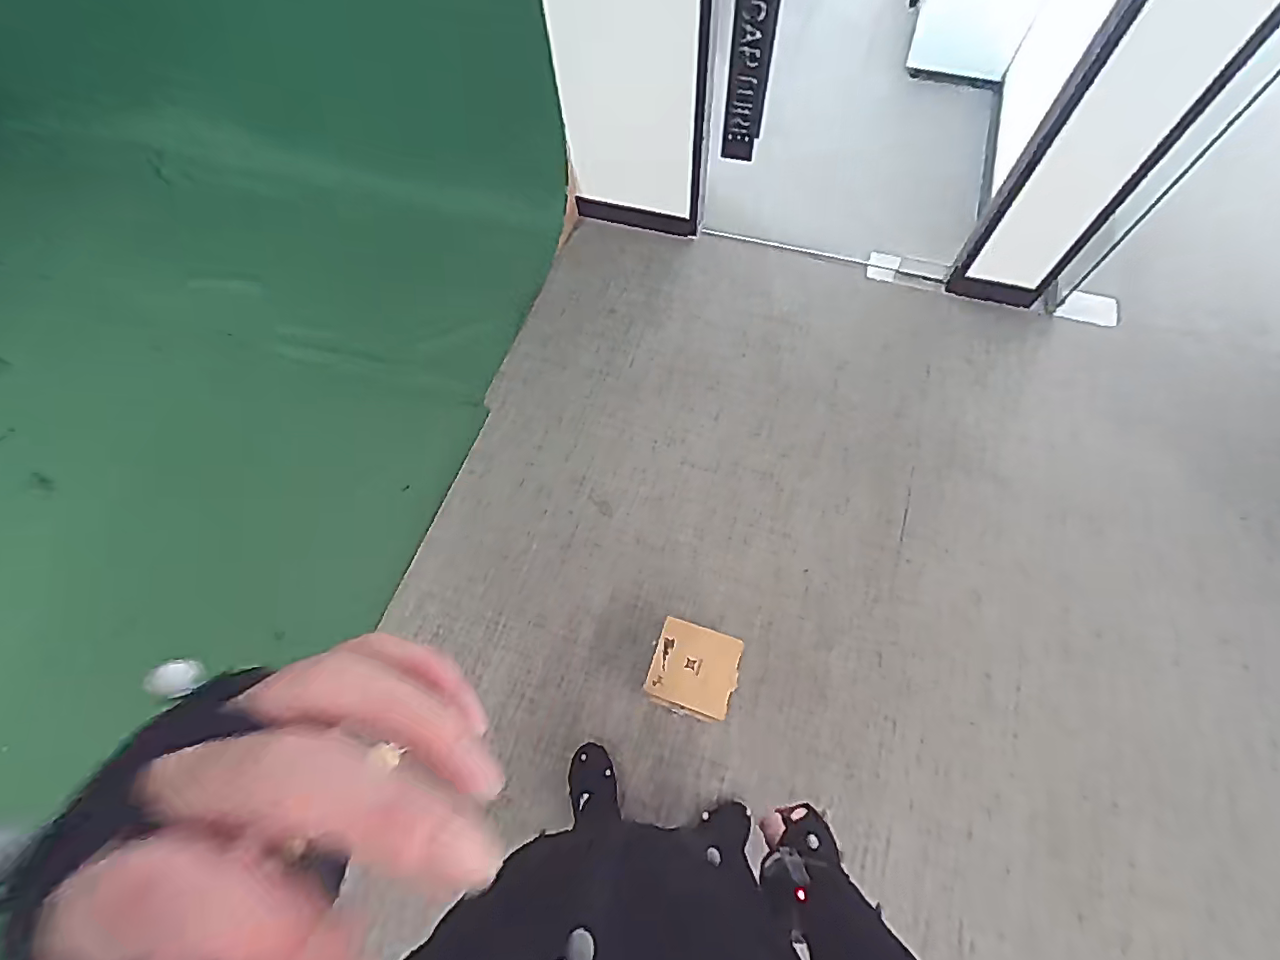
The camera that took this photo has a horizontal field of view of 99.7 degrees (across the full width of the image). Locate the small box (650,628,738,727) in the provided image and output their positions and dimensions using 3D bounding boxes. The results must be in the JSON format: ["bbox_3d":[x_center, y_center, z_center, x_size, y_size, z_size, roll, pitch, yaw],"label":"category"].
[{"bbox_3d":[0.132,0.489,1.333,0.168,0.176,0.179,18,68,13],"label":"small box"}]
